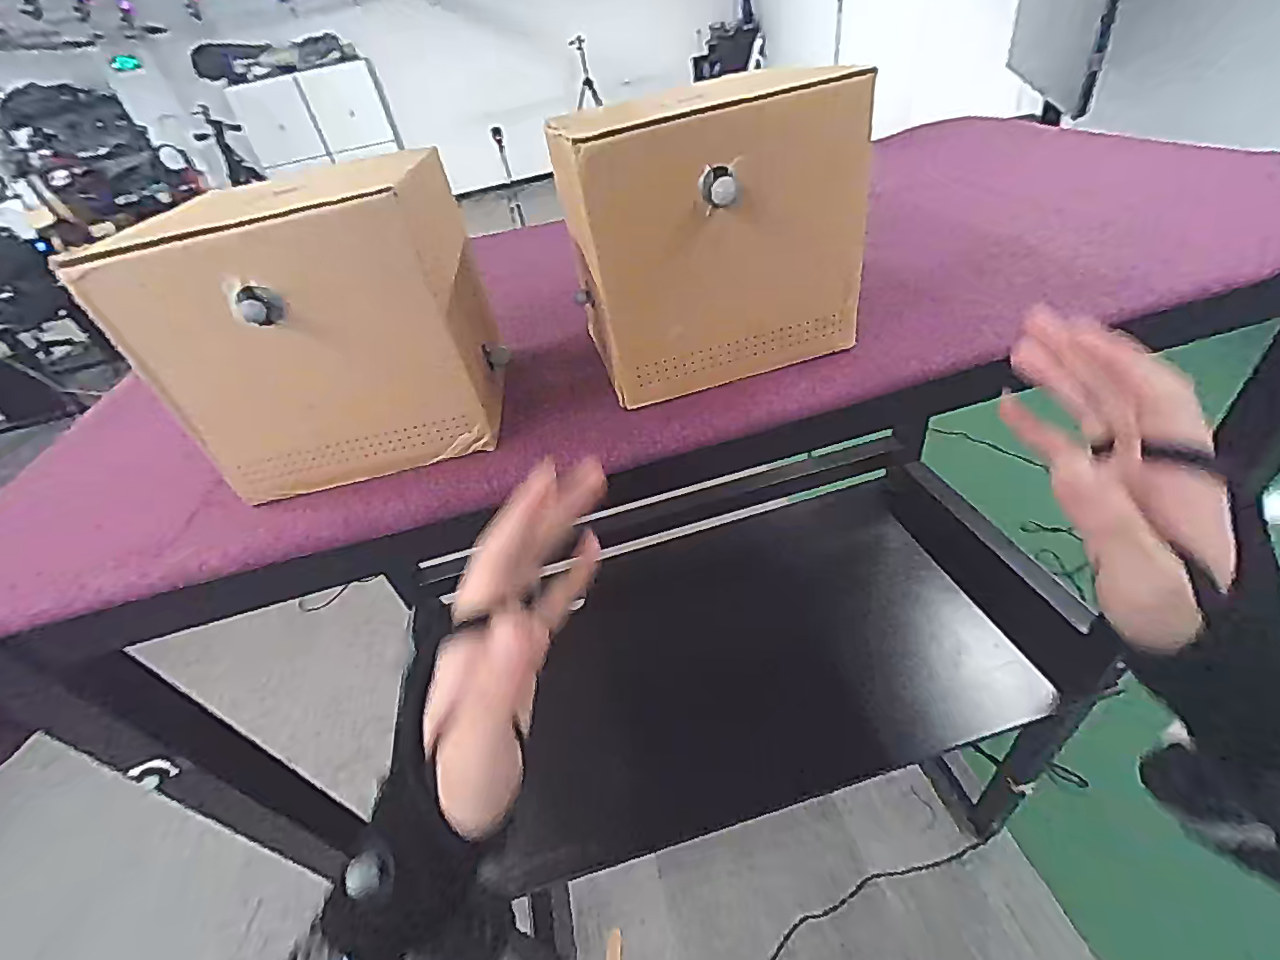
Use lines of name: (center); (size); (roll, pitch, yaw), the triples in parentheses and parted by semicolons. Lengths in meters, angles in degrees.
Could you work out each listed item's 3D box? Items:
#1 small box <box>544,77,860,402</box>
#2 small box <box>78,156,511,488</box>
small box: (0.040, -0.184, 0.412); (0.179, 0.176, 0.168); (-17, 38, -4)
small box: (-0.207, -0.114, 0.392); (0.179, 0.176, 0.168); (-12, 39, -1)
